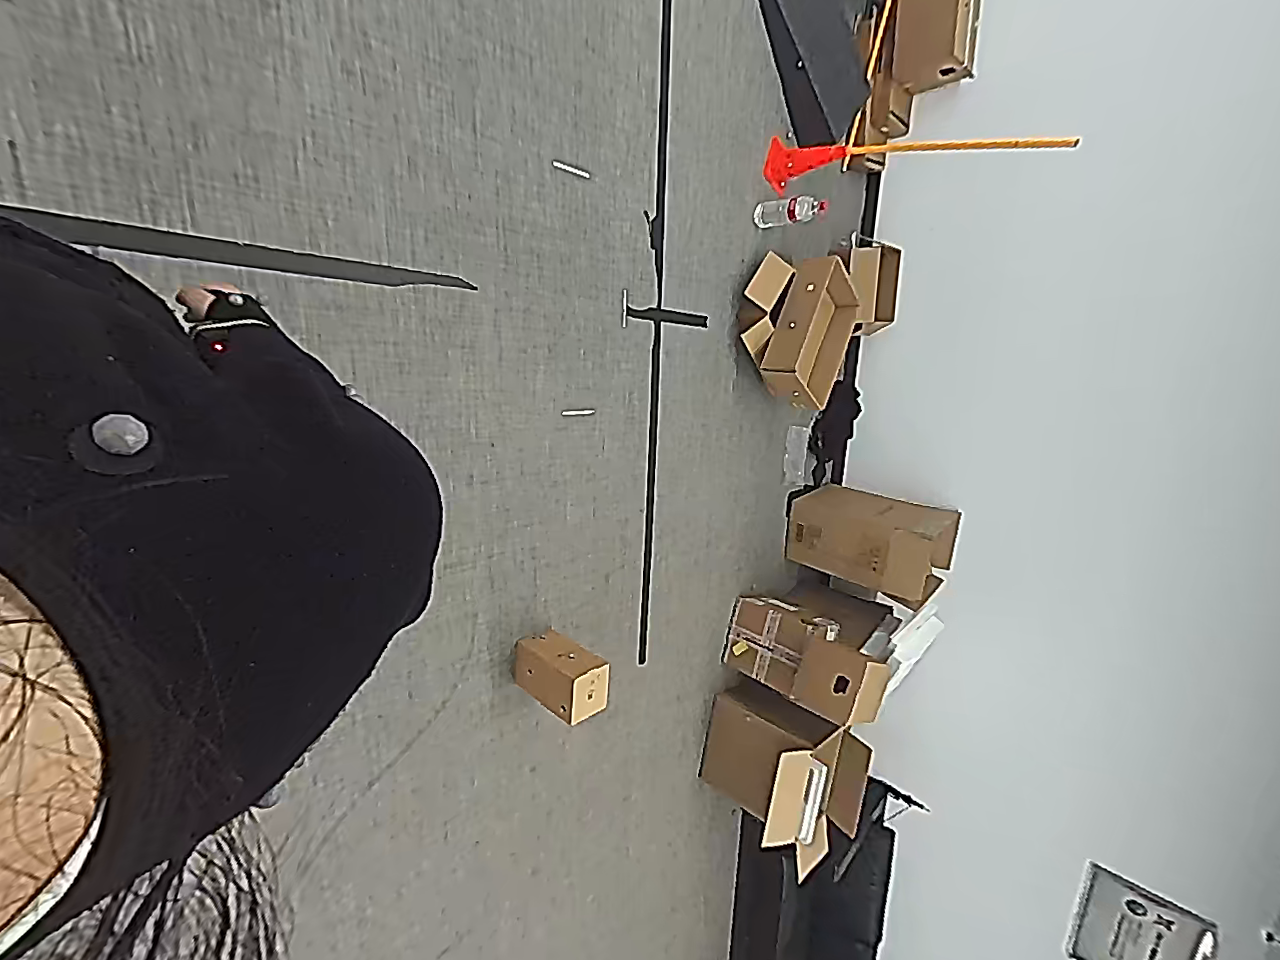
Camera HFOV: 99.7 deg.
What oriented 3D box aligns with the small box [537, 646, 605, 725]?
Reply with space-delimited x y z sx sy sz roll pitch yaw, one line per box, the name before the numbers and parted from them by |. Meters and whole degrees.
small box | -0.244 0.711 1.888 0.168 0.176 0.179 -7 105 -48
